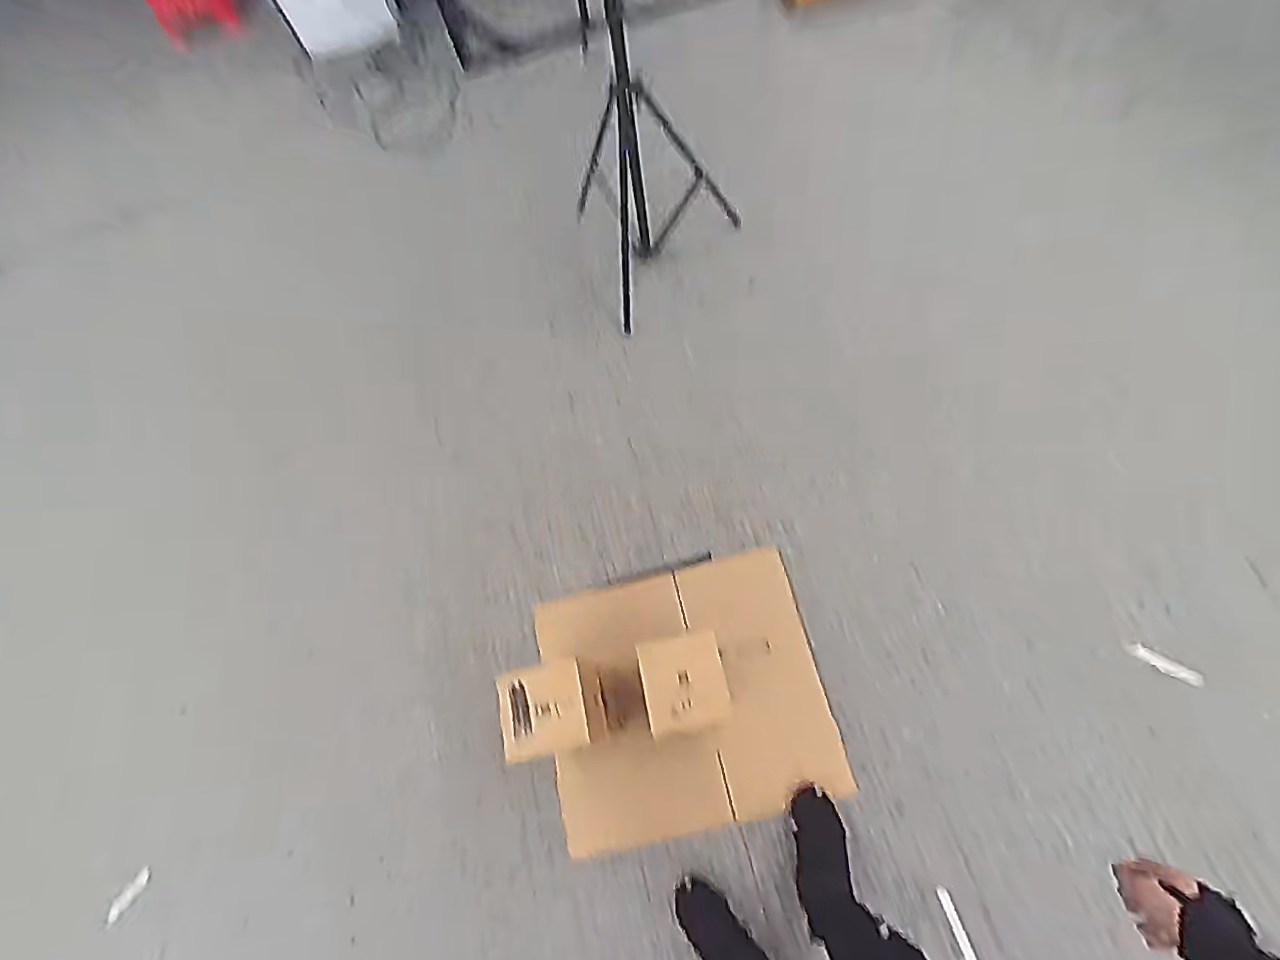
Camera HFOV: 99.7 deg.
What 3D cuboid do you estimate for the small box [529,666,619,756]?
[{"bbox_3d":[-0.153,0.558,1.316,0.179,0.176,0.168,-15,67,3],"label":"small box"}]

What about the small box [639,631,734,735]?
[{"bbox_3d":[0.097,0.435,1.157,0.168,0.176,0.179,-13,68,2],"label":"small box"}]
